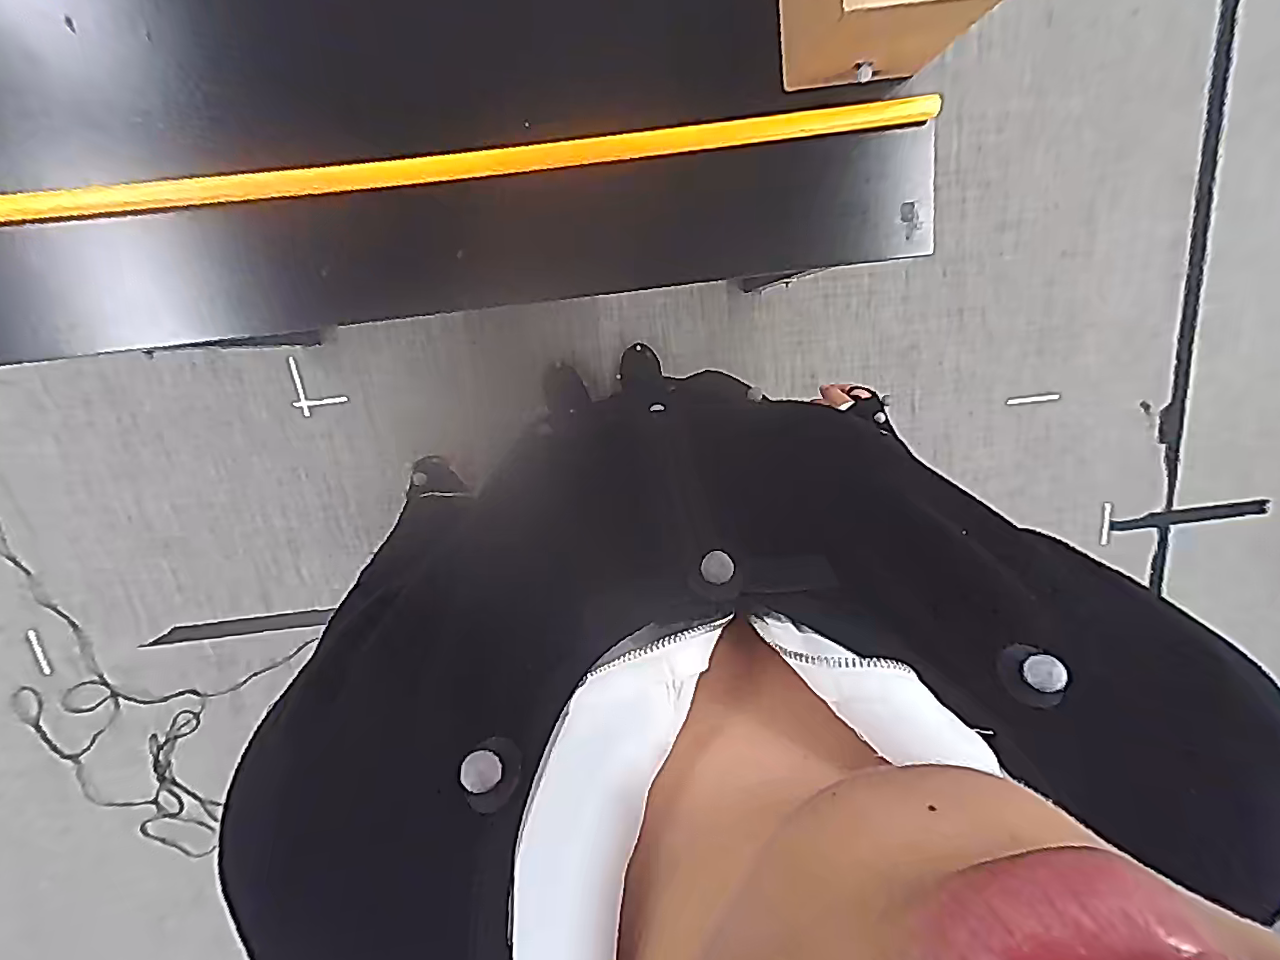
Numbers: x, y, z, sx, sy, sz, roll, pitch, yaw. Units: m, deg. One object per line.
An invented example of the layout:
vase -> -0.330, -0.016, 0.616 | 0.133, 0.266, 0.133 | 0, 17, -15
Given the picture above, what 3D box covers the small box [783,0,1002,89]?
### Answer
small box -> 0.252, -0.546, 0.558 | 0.168, 0.176, 0.179 | -8, 105, -2
